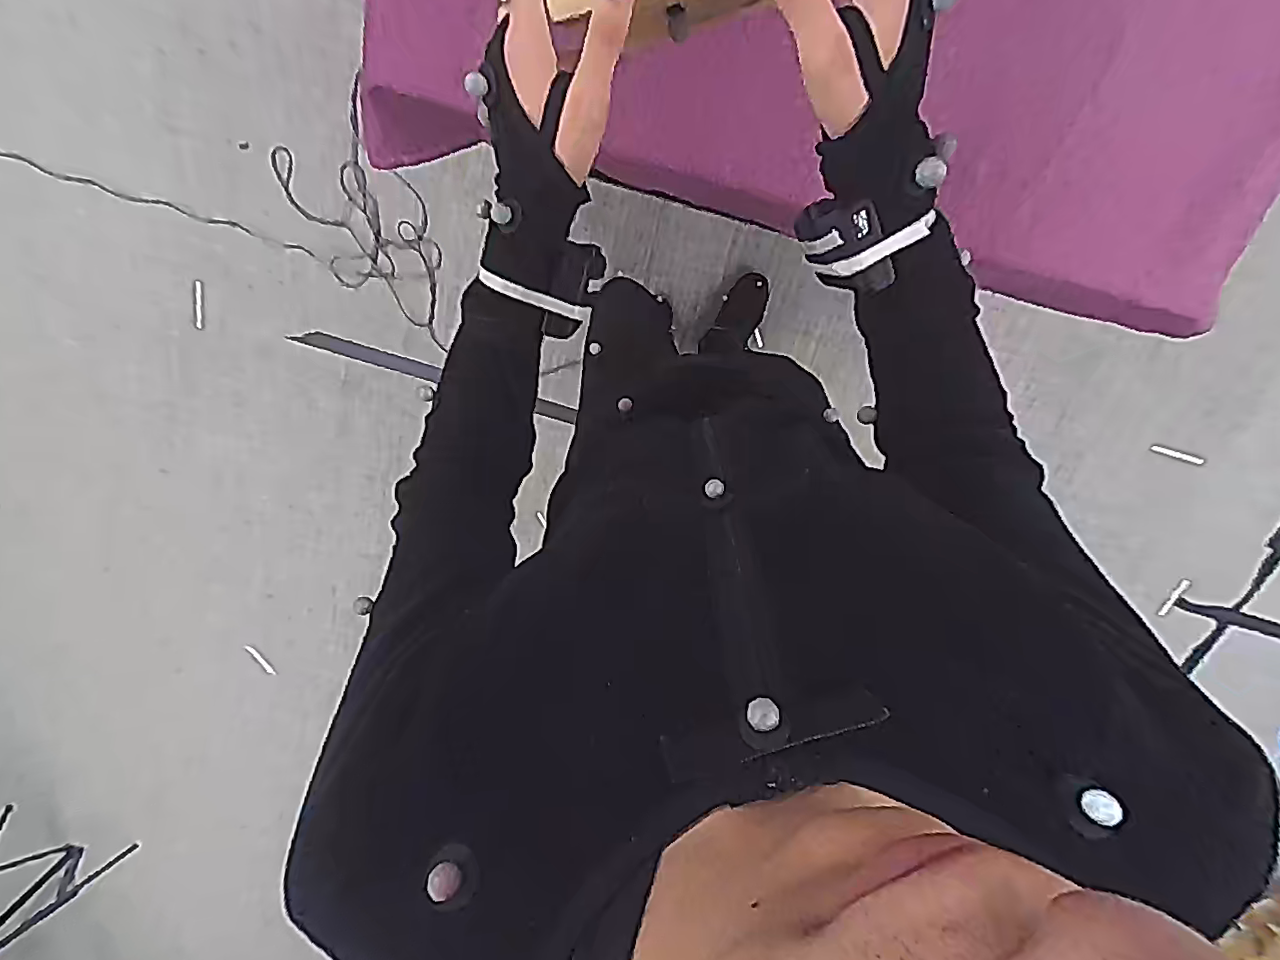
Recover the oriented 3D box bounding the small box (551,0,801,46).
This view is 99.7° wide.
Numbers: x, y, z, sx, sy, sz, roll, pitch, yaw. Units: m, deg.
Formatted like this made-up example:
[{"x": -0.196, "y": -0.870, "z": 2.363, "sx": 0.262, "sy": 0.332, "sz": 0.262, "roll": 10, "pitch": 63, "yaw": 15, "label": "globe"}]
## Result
[{"x": 0.030, "y": -0.378, "z": 0.308, "sx": 0.168, "sy": 0.176, "sz": 0.179, "roll": -4, "pitch": 120, "yaw": 19, "label": "small box"}]
